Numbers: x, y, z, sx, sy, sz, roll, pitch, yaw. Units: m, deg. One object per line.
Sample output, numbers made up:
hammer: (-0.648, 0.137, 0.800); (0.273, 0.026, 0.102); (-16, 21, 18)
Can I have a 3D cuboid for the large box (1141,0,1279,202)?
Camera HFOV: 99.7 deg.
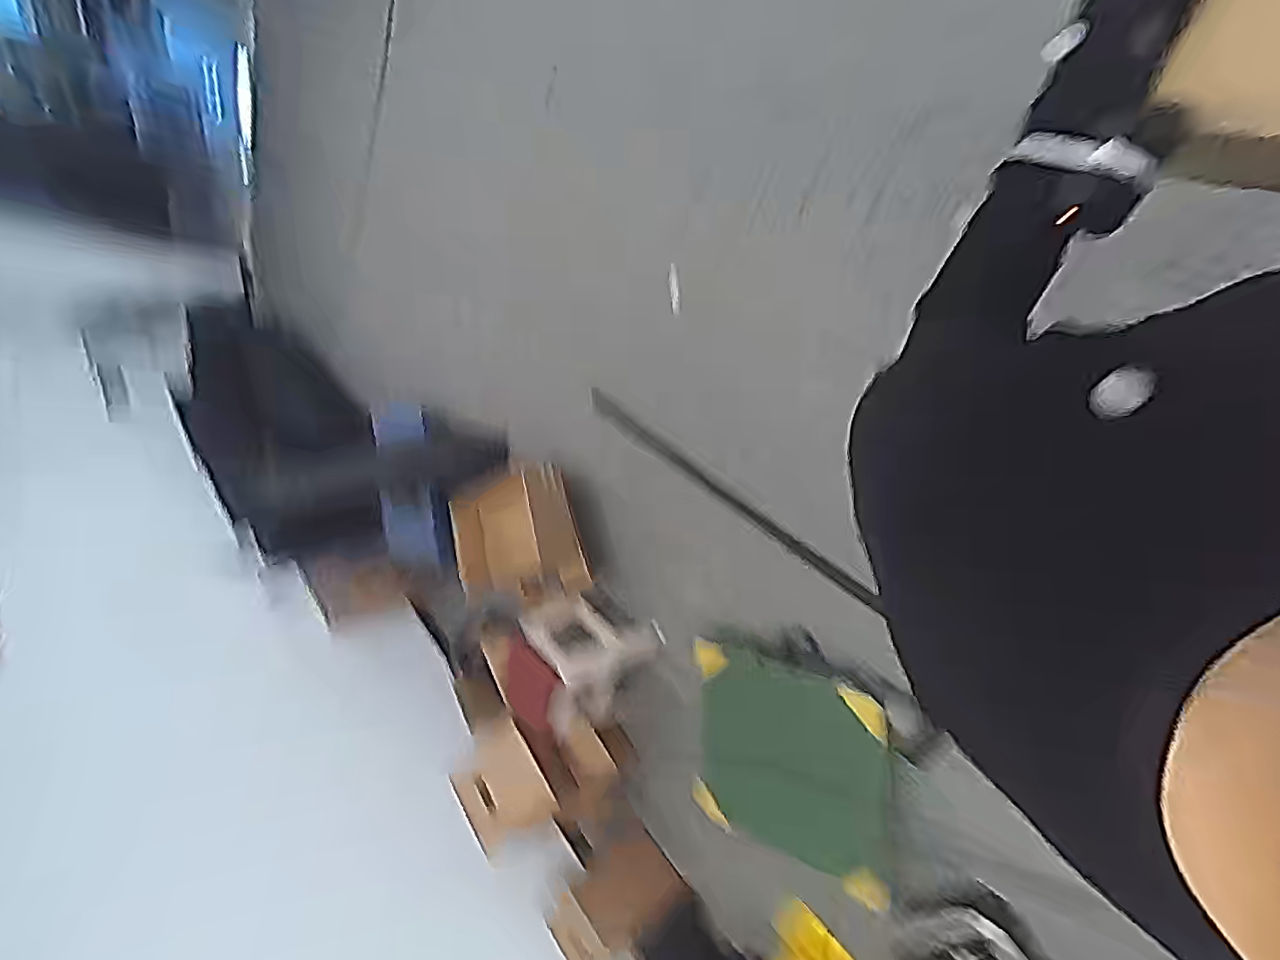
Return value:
large box: (0.608, -0.328, 0.301); (0.408, 0.320, 0.320); (31, 125, 33)
